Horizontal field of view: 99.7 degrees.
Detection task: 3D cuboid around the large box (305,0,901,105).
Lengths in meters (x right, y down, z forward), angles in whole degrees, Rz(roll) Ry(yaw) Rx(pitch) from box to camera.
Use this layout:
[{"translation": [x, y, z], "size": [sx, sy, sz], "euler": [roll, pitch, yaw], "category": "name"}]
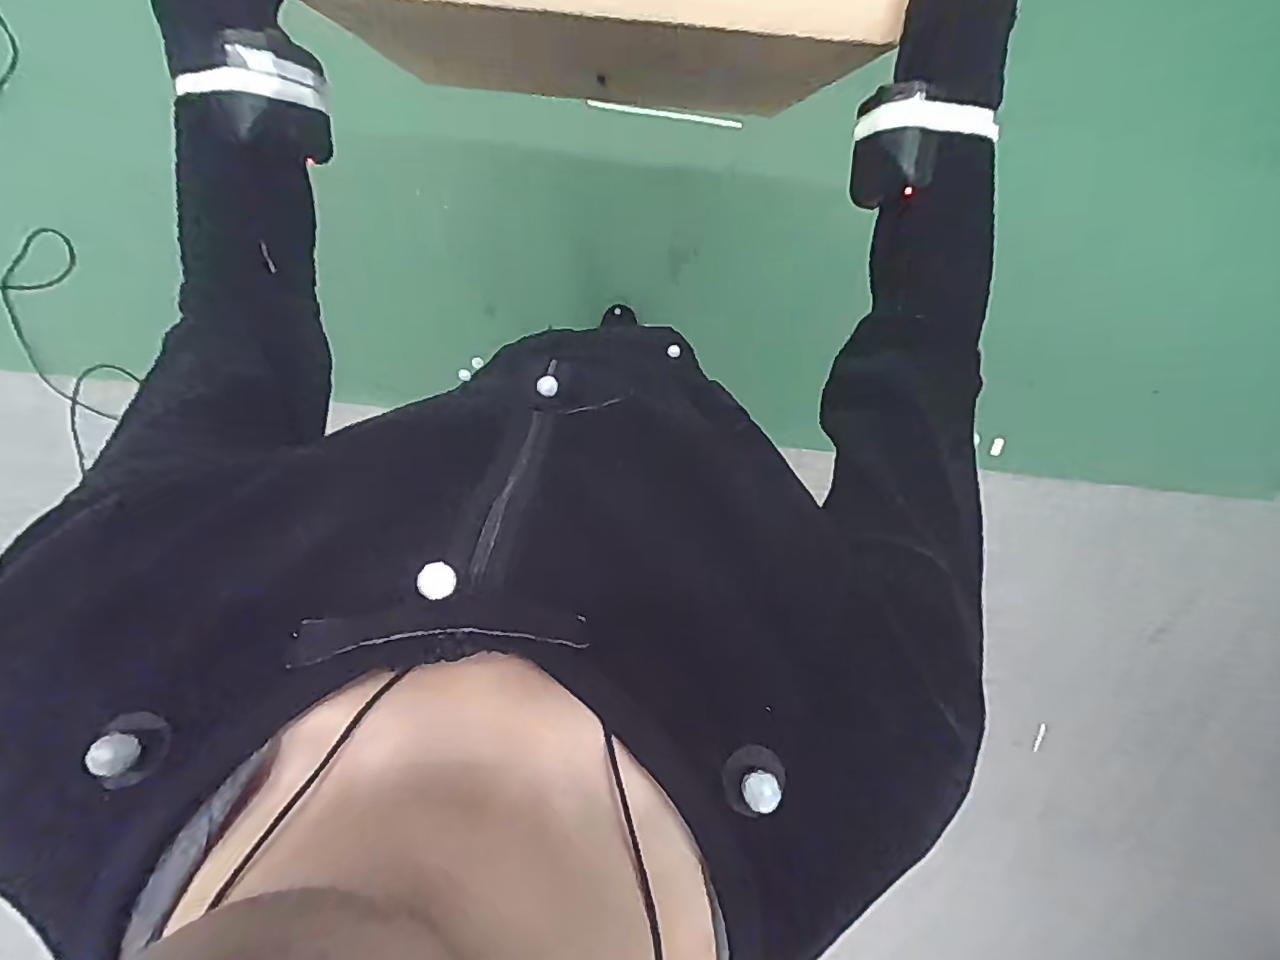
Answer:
[{"translation": [-0.020, -0.510, 0.427], "size": [0.408, 0.320, 0.320], "euler": [2, 116, -3], "category": "large box"}]
